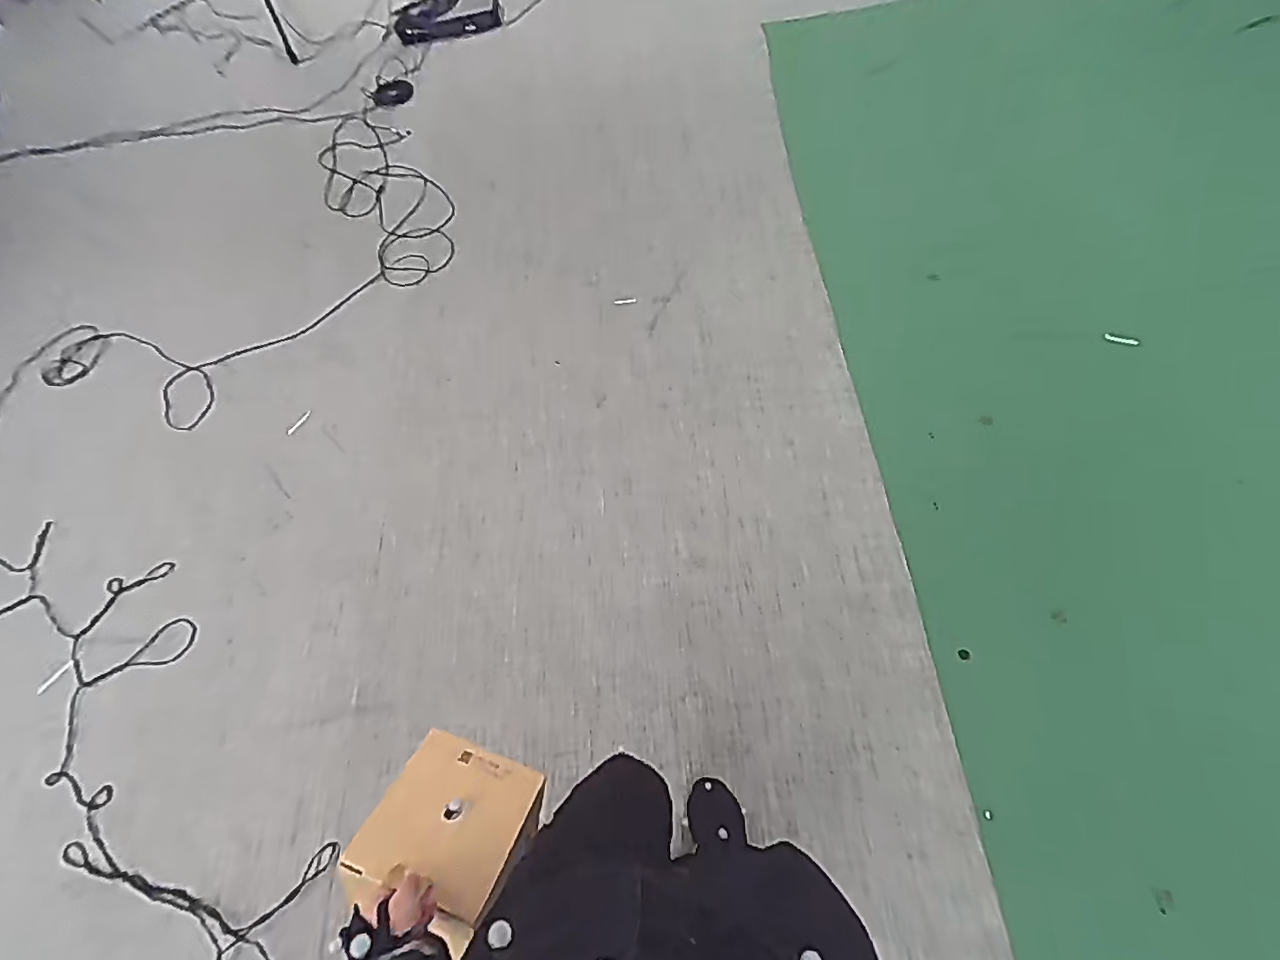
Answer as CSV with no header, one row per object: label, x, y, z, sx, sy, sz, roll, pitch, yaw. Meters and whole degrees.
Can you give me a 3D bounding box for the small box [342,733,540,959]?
small box,-0.236,0.456,0.682,0.168,0.179,0.176,17,36,7
